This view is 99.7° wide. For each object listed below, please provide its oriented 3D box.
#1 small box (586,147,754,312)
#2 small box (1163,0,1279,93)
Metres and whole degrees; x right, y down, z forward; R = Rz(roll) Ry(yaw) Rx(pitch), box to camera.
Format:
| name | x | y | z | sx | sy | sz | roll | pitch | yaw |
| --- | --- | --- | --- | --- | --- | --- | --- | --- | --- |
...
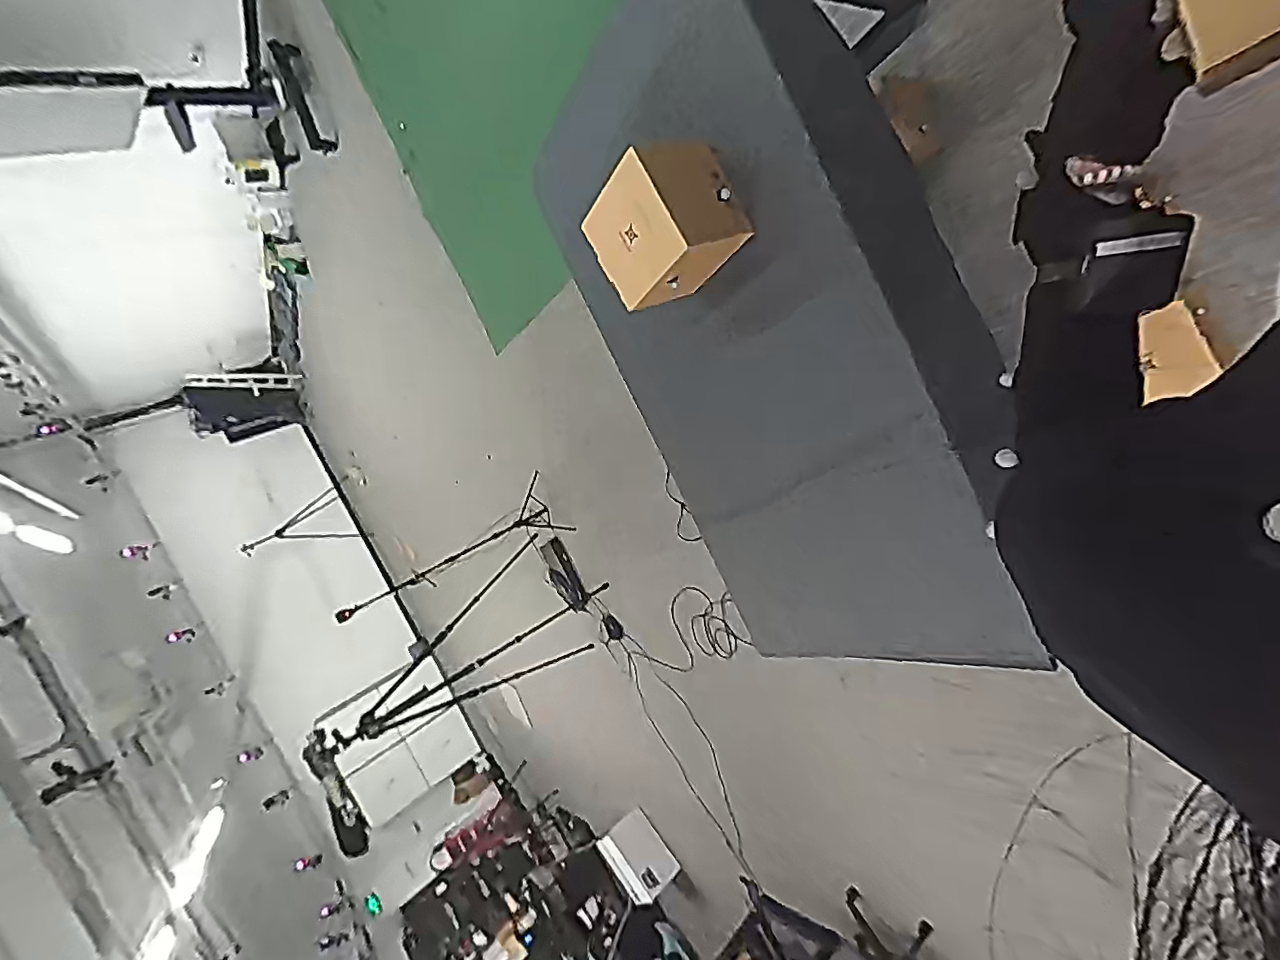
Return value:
| name | x | y | z | sx | sy | sz | roll | pitch | yaw |
| --- | --- | --- | --- | --- | --- | --- | --- | --- | --- |
| small box | 0.048 | -0.402 | 0.874 | 0.179 | 0.176 | 0.168 | -27 | 93 | 56 |
| small box | 0.385 | -0.341 | 0.279 | 0.179 | 0.176 | 0.168 | -17 | 100 | 50 |
